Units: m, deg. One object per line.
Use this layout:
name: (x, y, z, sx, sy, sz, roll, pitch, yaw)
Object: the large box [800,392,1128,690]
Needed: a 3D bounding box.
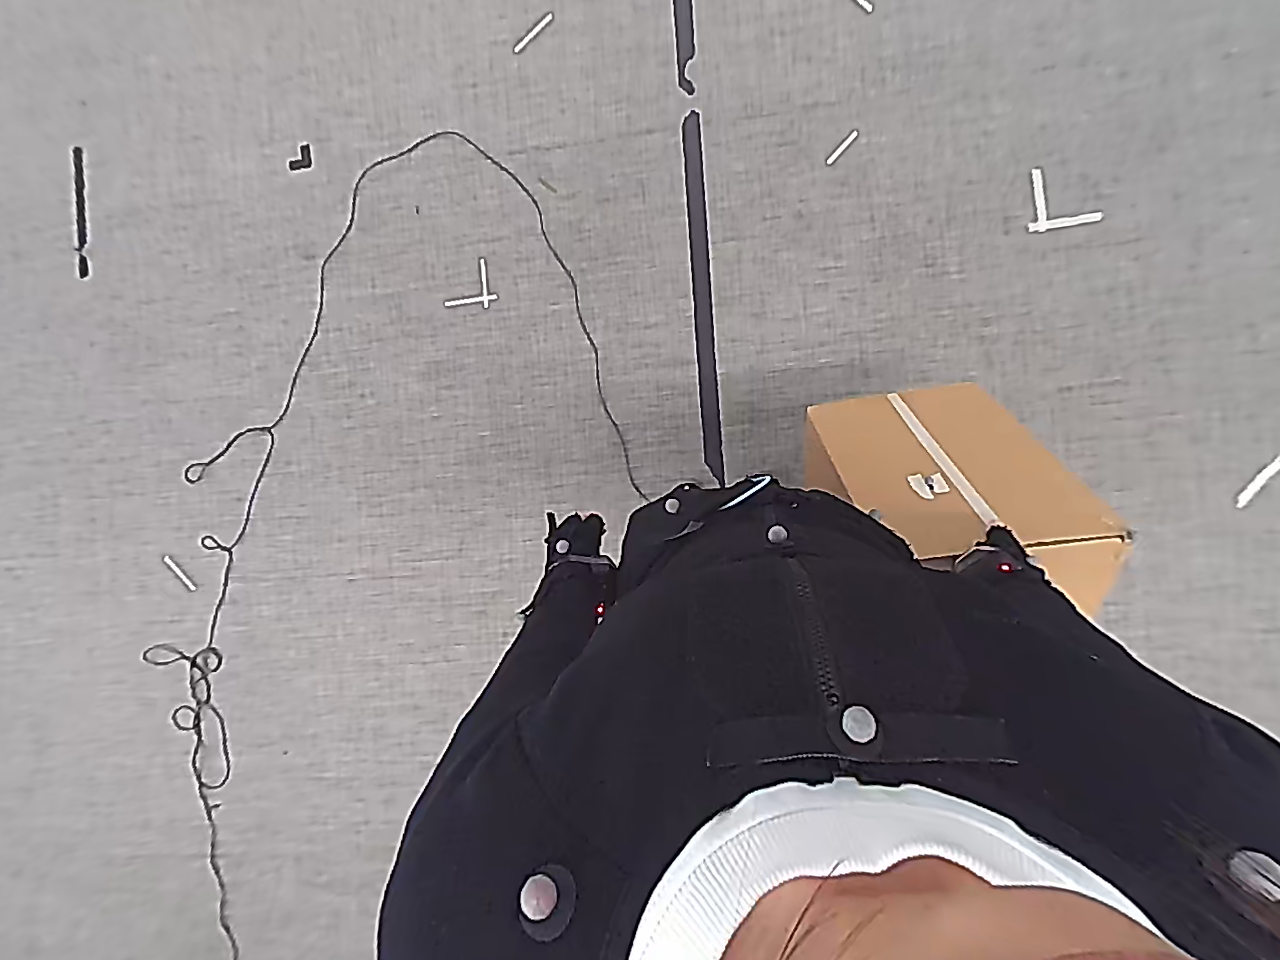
large box: (0.490, 0.094, 0.947, 0.320, 0.408, 0.320, -8, 128, 5)
